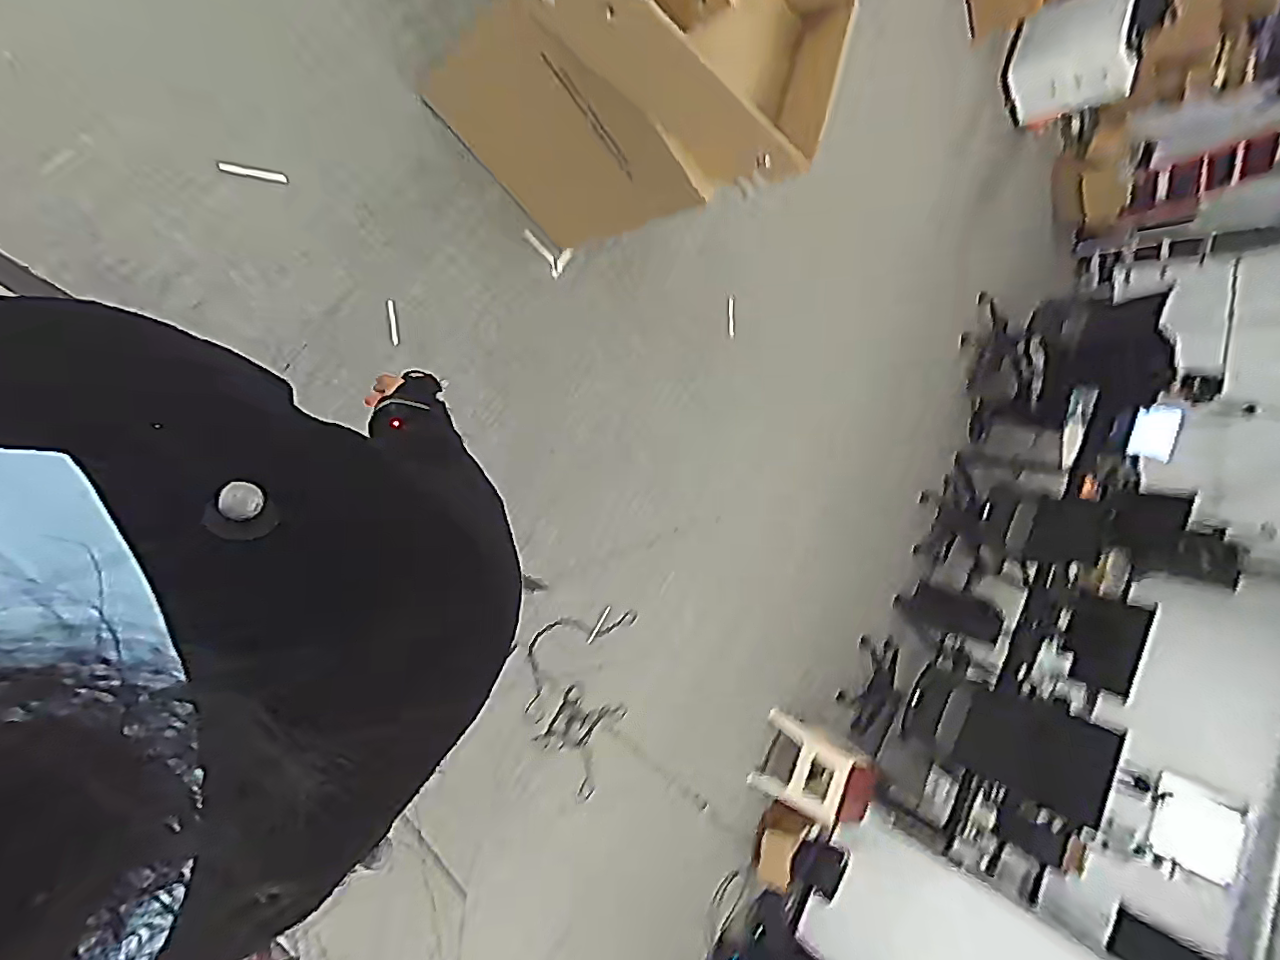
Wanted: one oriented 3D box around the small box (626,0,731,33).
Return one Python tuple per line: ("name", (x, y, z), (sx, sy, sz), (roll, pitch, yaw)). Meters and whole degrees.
("small box", (0.059, -0.899, 0.899), (0.179, 0.176, 0.168), (16, 90, -41))
